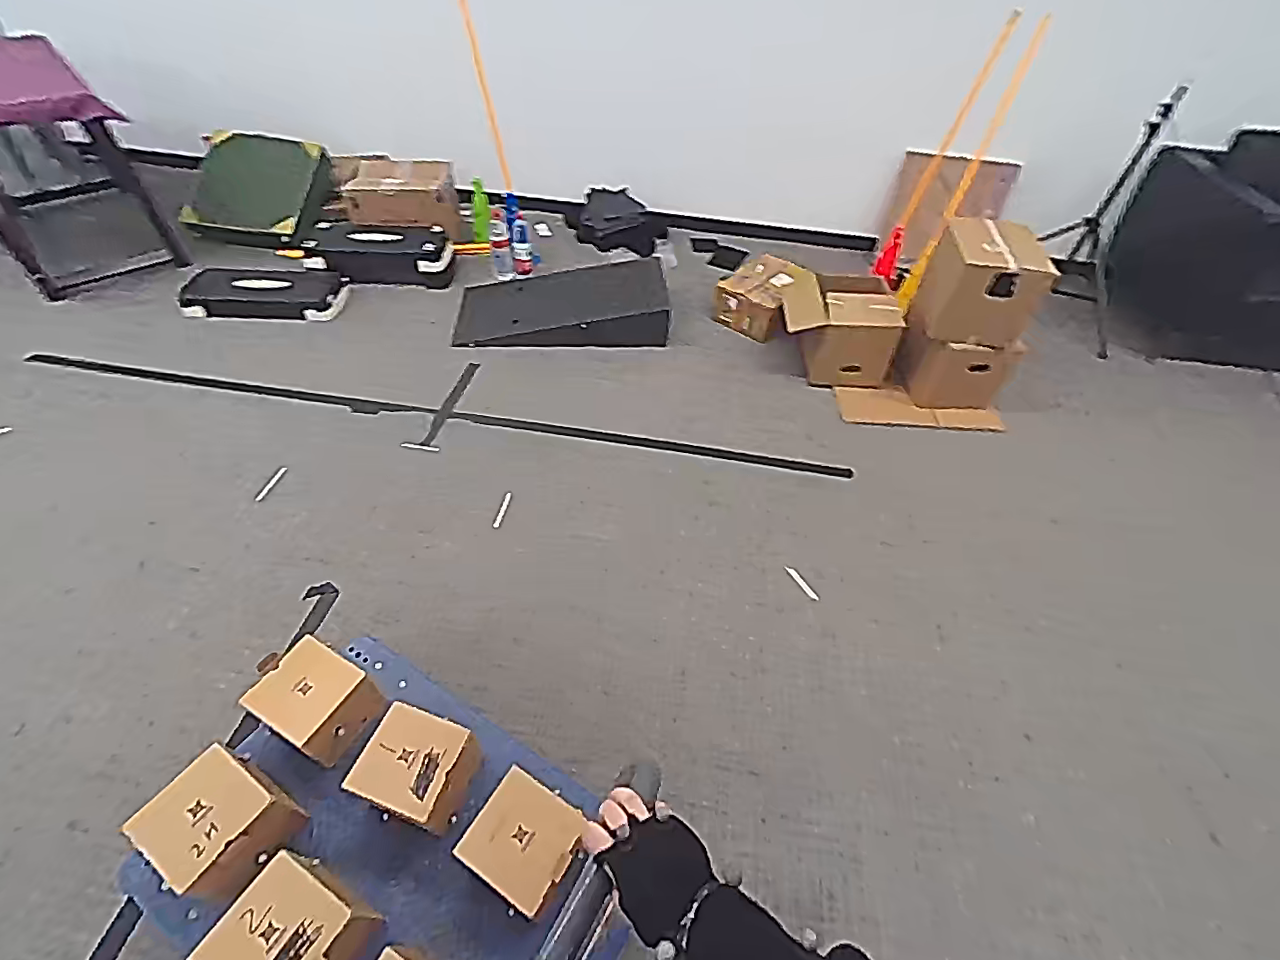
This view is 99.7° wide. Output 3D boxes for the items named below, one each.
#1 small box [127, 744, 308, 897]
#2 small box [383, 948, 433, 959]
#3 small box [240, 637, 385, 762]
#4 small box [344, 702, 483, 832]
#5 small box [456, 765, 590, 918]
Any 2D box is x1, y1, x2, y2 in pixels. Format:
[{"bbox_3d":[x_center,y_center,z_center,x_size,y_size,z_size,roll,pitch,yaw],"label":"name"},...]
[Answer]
[{"bbox_3d":[-0.764,0.631,0.996,0.179,0.176,0.168,28,53,17],"label":"small box"},{"bbox_3d":[-0.354,0.863,0.830,0.179,0.176,0.168,24,50,15],"label":"small box"},{"bbox_3d":[-0.678,0.471,1.146,0.179,0.176,0.168,24,51,15],"label":"small box"},{"bbox_3d":[-0.435,0.575,1.076,0.179,0.176,0.168,16,49,10],"label":"small box"},{"bbox_3d":[-0.207,0.675,1.010,0.179,0.176,0.168,26,51,18],"label":"small box"}]
